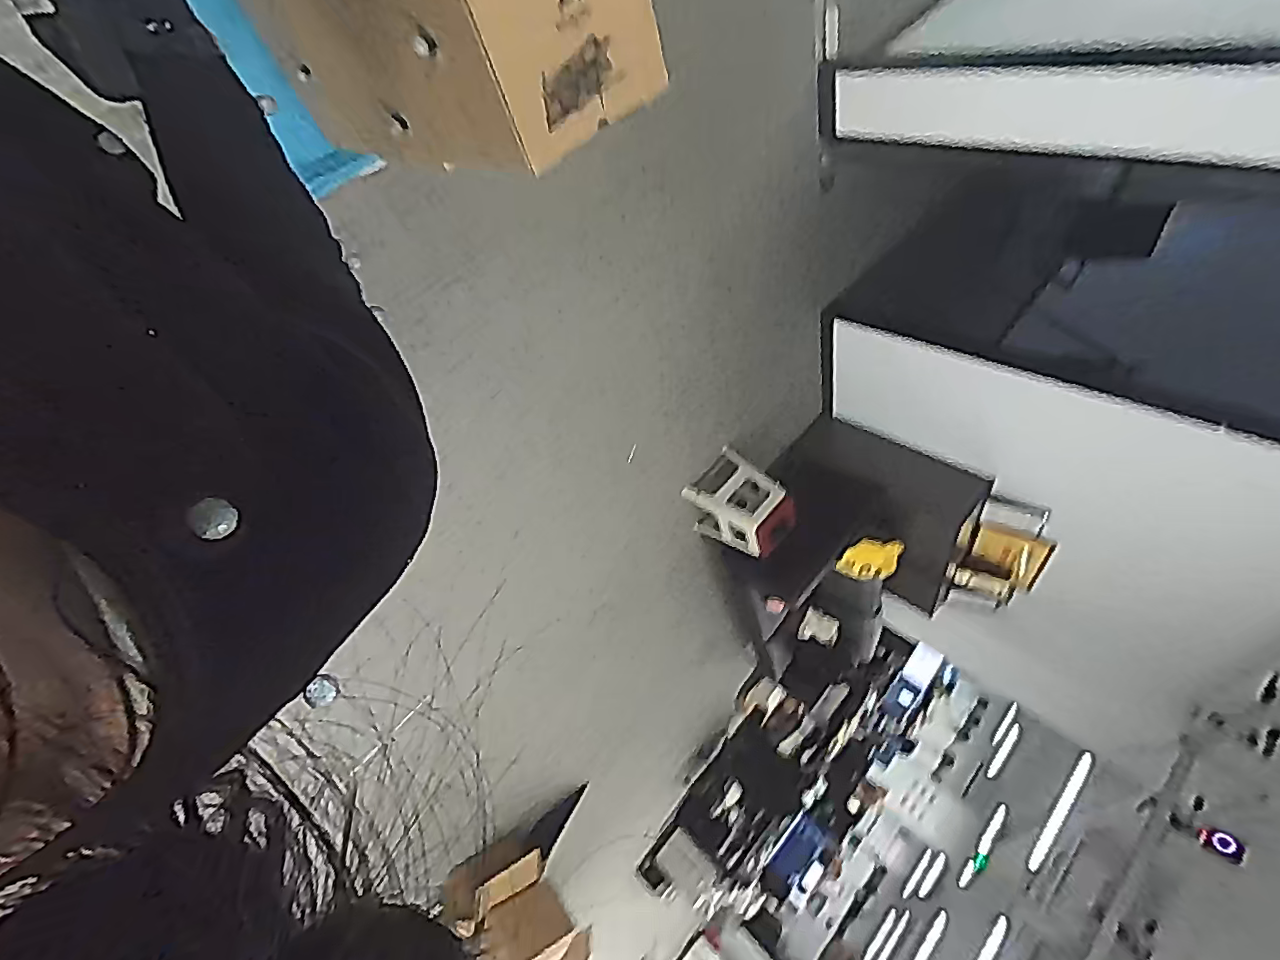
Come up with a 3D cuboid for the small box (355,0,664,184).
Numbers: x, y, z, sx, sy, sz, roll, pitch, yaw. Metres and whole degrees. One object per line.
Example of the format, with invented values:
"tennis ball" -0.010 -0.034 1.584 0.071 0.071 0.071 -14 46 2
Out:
"small box" -0.109 -0.377 0.444 0.168 0.176 0.179 -45 141 -20
